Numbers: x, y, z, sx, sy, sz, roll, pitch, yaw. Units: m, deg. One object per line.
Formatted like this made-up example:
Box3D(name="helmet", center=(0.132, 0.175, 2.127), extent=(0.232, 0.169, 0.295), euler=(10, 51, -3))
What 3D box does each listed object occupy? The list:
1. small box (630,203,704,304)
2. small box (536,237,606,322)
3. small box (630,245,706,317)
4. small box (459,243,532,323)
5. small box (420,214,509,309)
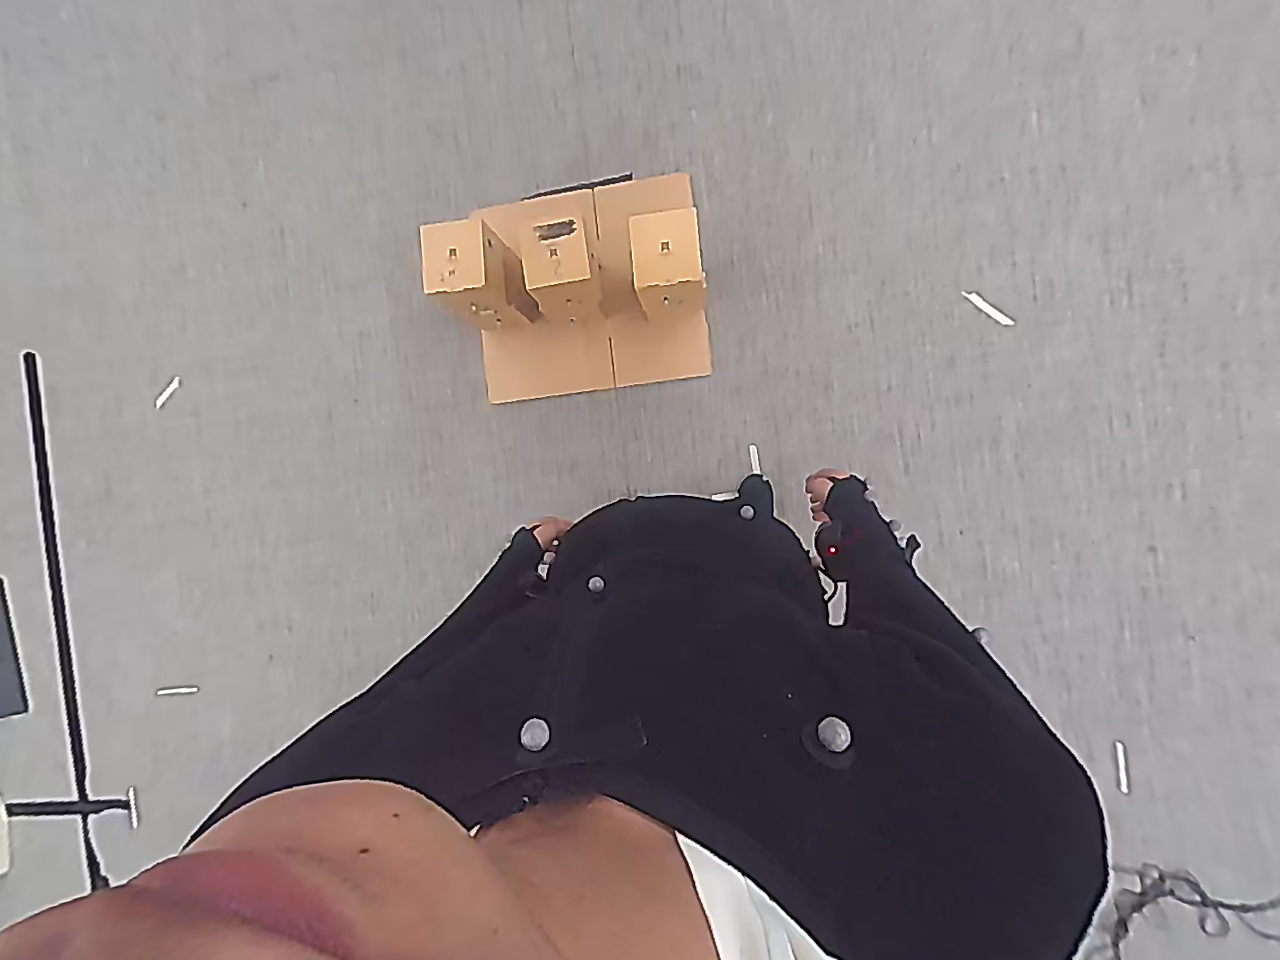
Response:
Box3D(name="small box", center=(0.070, -0.559, 1.354), extent=(0.168, 0.176, 0.179), euler=(-6, 91, 7))
Box3D(name="small box", center=(-0.193, -0.569, 1.550), extent=(0.168, 0.176, 0.179), euler=(-3, 91, 7))
Box3D(name="small box", center=(0.084, -0.575, 1.516), extent=(0.179, 0.176, 0.168), euler=(-15, 90, 7))
Box3D(name="small box", center=(-0.422, -0.564, 1.577), extent=(0.168, 0.176, 0.179), euler=(-4, 92, 8))
Box3D(name="small box", center=(-0.453, -0.566, 1.414), extent=(0.168, 0.176, 0.179), euler=(-3, 91, 8))
